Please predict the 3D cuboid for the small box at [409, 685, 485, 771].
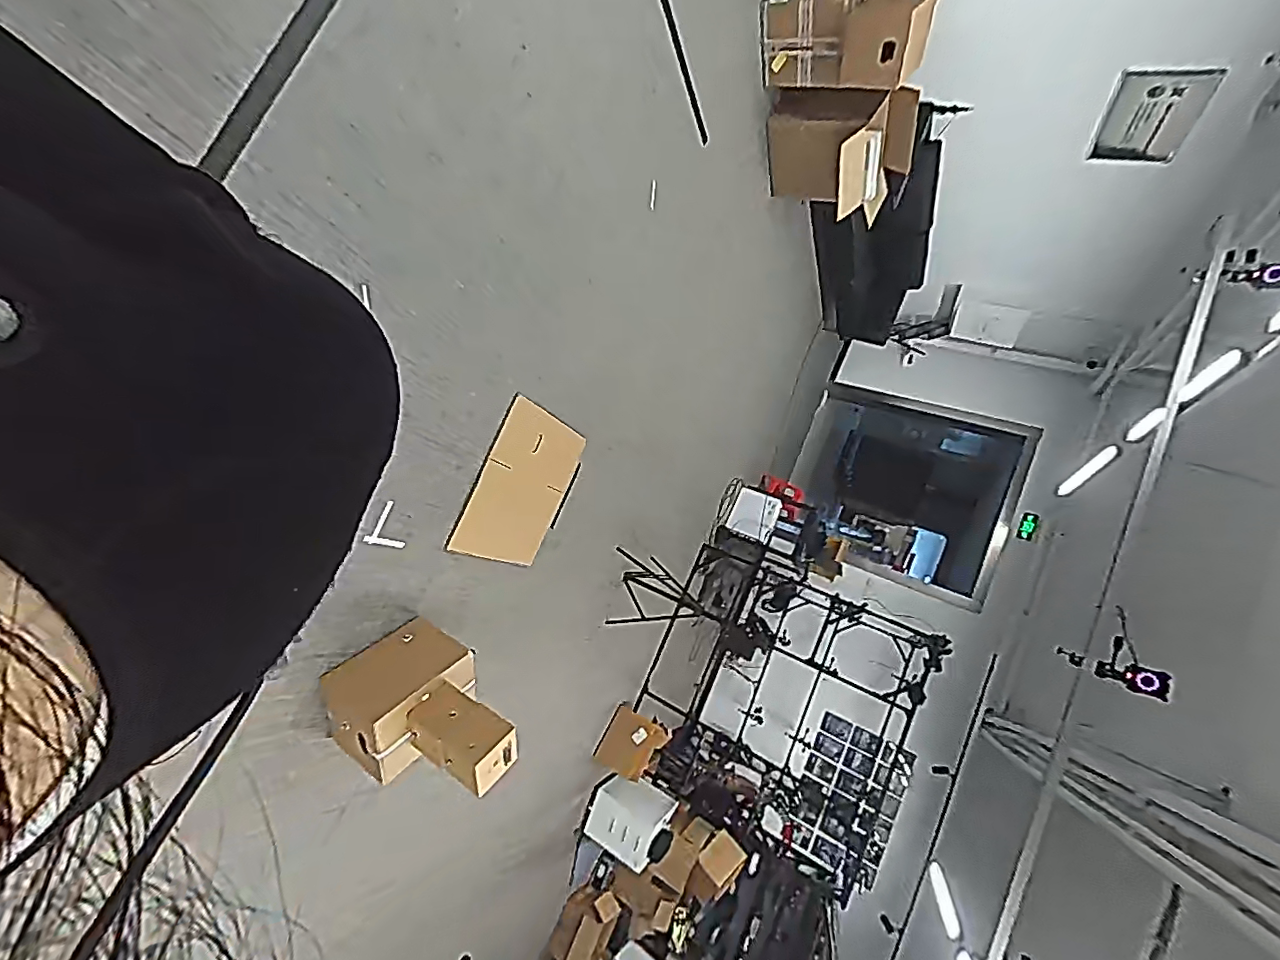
[{"bbox_3d":[-0.665,0.848,1.869,0.179,0.176,0.168,-33,135,-48],"label":"small box"}]
